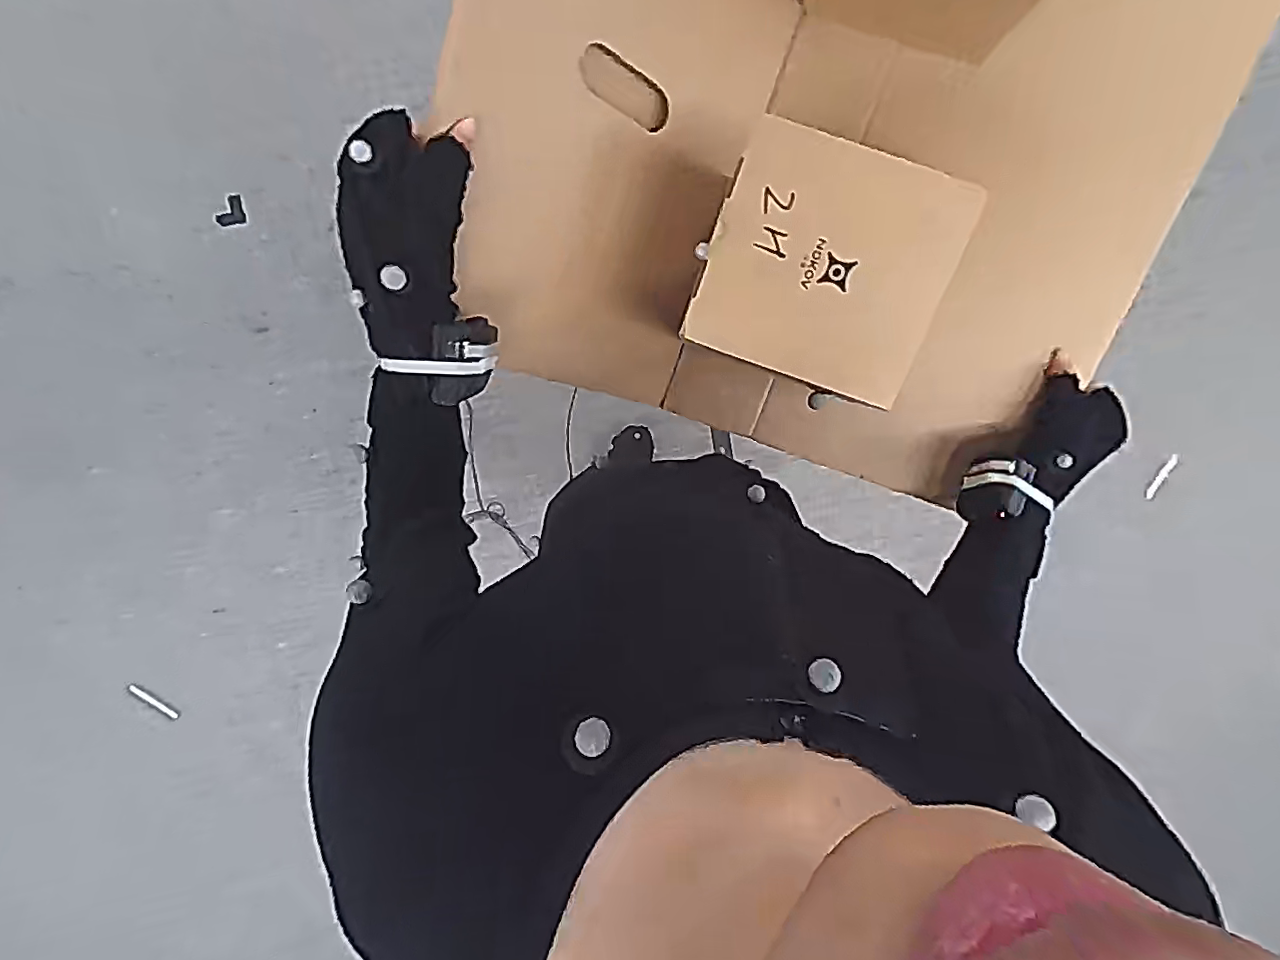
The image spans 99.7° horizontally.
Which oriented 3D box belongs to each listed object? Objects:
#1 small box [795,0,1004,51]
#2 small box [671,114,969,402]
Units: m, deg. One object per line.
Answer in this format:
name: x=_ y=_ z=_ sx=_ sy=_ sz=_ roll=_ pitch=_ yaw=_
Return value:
small box: x=0.234 y=-0.476 z=0.412 sx=0.179 sy=0.176 sz=0.168 roll=18 pitch=104 yaw=1
small box: x=0.140 y=-0.182 z=0.487 sx=0.179 sy=0.176 sz=0.168 roll=20 pitch=104 yaw=2
